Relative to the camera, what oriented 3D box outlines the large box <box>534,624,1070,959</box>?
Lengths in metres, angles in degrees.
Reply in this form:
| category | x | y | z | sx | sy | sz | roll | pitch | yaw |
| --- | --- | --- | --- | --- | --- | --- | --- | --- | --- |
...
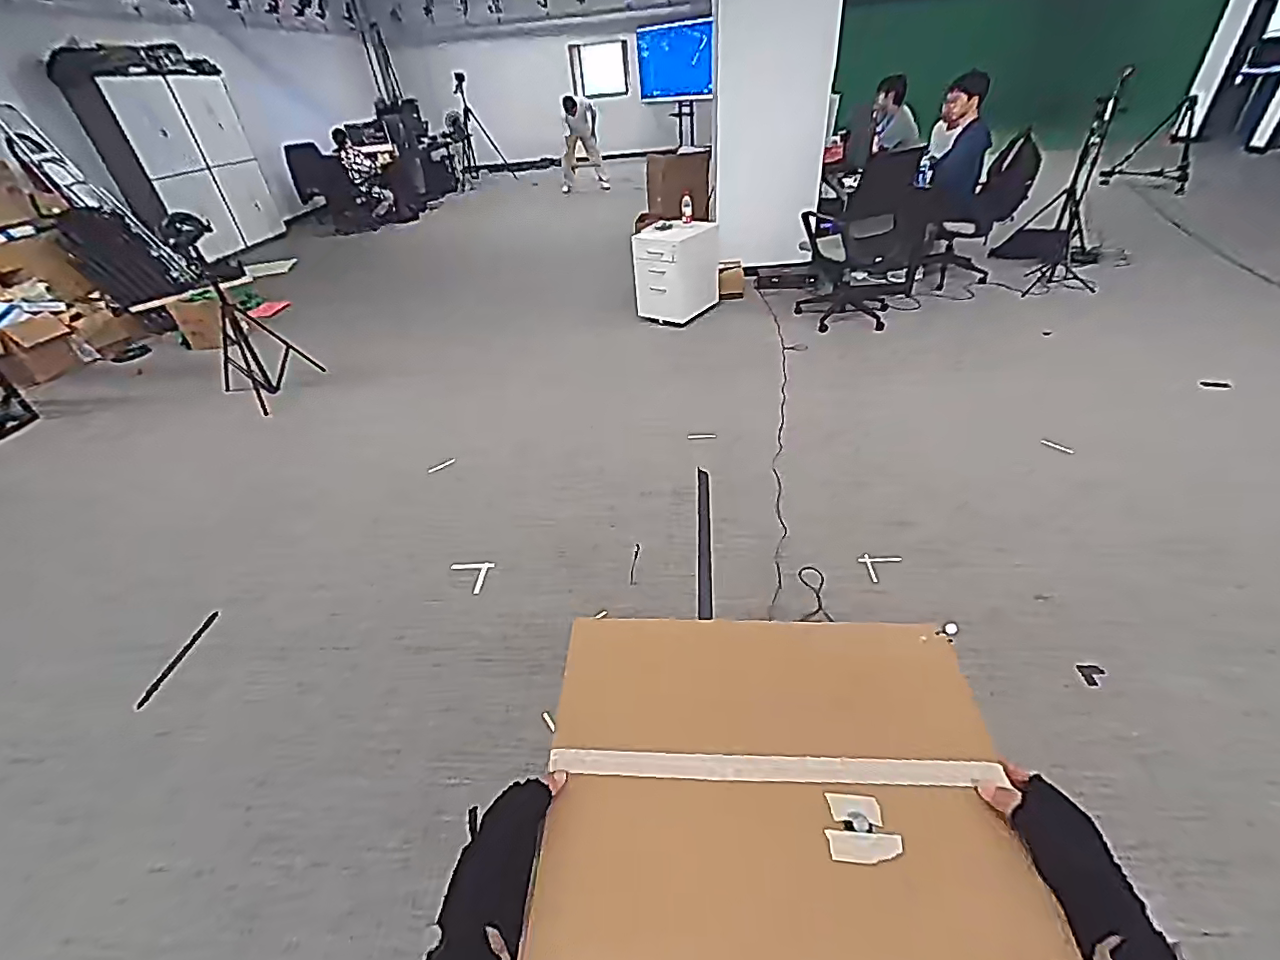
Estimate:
| category | x | y | z | sx | sy | sz | roll | pitch | yaw |
| --- | --- | --- | --- | --- | --- | --- | --- | --- | --- |
| large box | 0.129 | 0.380 | 0.599 | 0.408 | 0.320 | 0.320 | 0 | 43 | 5 |
